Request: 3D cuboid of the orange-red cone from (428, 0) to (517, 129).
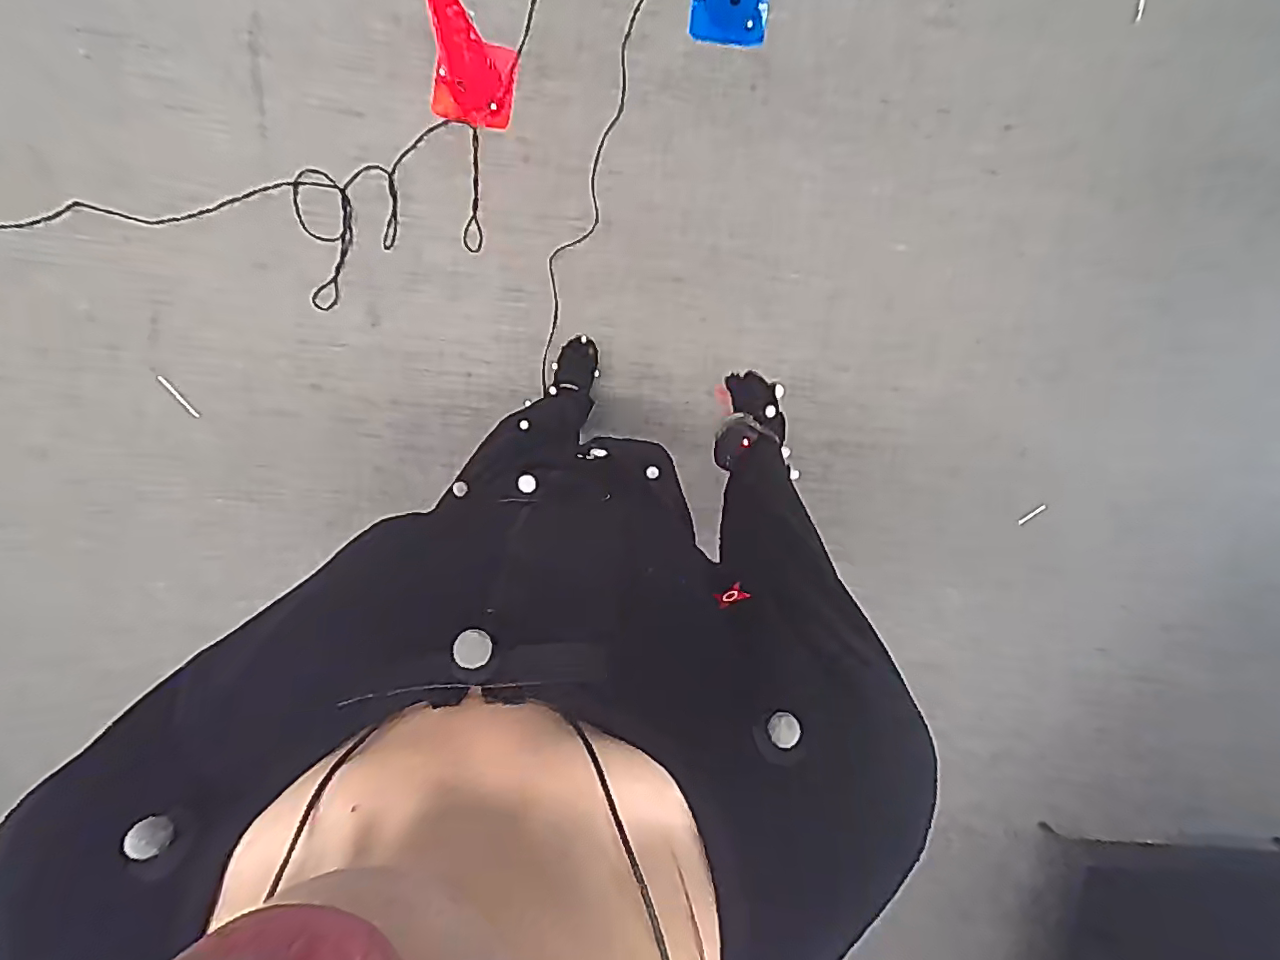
[{"bbox_3d":[-0.410,-0.998,1.205,0.198,0.360,0.199,10,94,-5],"label":"orange-red cone"}]
